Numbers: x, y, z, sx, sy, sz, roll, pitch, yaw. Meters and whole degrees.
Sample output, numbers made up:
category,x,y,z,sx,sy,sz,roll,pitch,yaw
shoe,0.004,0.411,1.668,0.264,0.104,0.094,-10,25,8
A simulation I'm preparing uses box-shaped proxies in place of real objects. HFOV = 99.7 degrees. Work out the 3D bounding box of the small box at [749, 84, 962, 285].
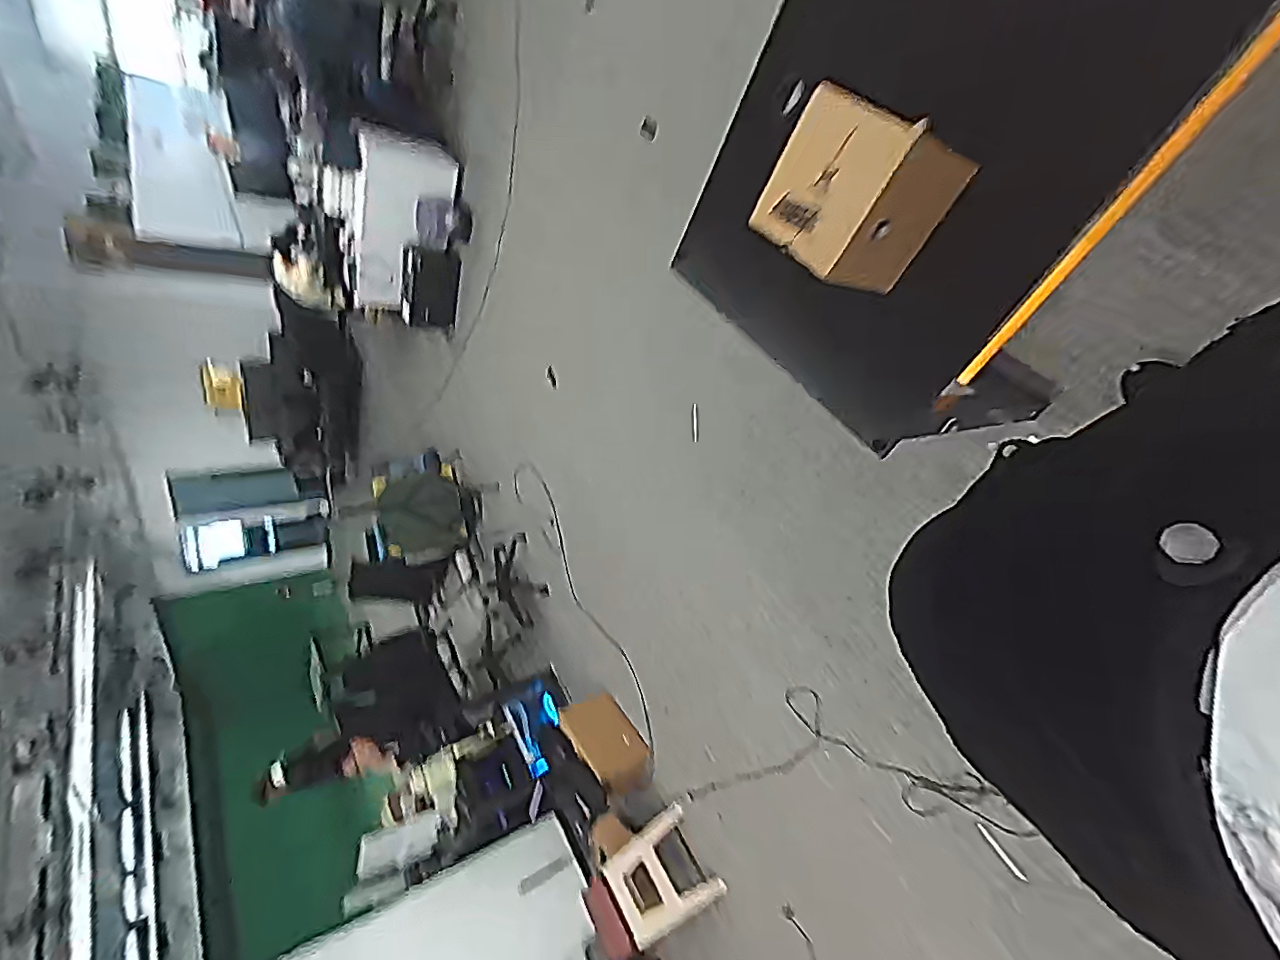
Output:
category,x,y,z,sx,sy,sz,roll,pitch,yaw
small box,0.291,-0.388,0.736,0.168,0.176,0.179,54,134,30
